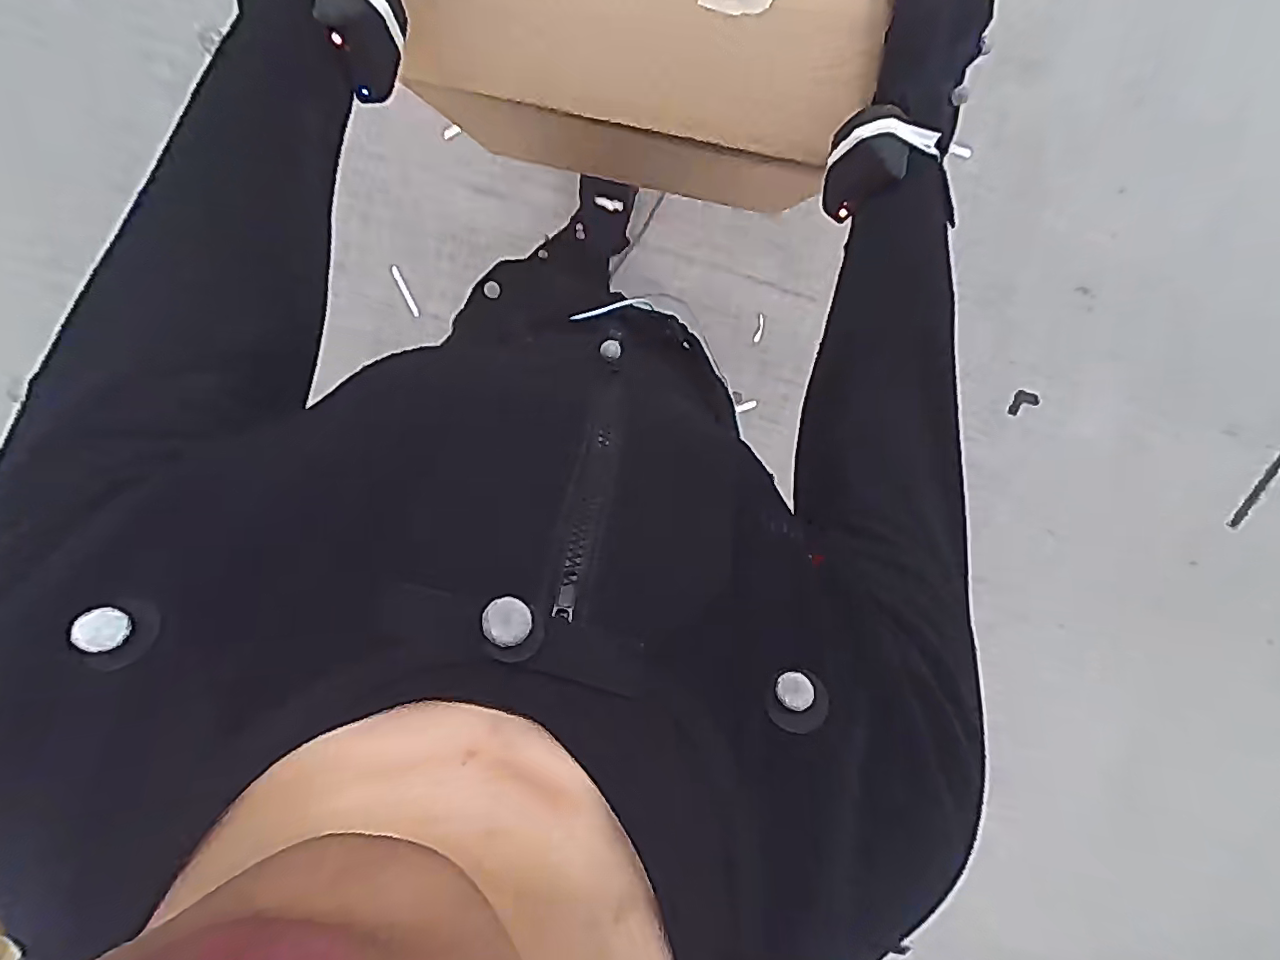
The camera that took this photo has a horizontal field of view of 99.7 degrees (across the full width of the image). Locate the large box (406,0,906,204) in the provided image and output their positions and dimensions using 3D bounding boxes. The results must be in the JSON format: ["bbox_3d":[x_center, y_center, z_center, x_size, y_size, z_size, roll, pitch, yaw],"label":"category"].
[{"bbox_3d":[0.026,-0.505,0.550,0.408,0.320,0.320,11,111,-4],"label":"large box"}]
